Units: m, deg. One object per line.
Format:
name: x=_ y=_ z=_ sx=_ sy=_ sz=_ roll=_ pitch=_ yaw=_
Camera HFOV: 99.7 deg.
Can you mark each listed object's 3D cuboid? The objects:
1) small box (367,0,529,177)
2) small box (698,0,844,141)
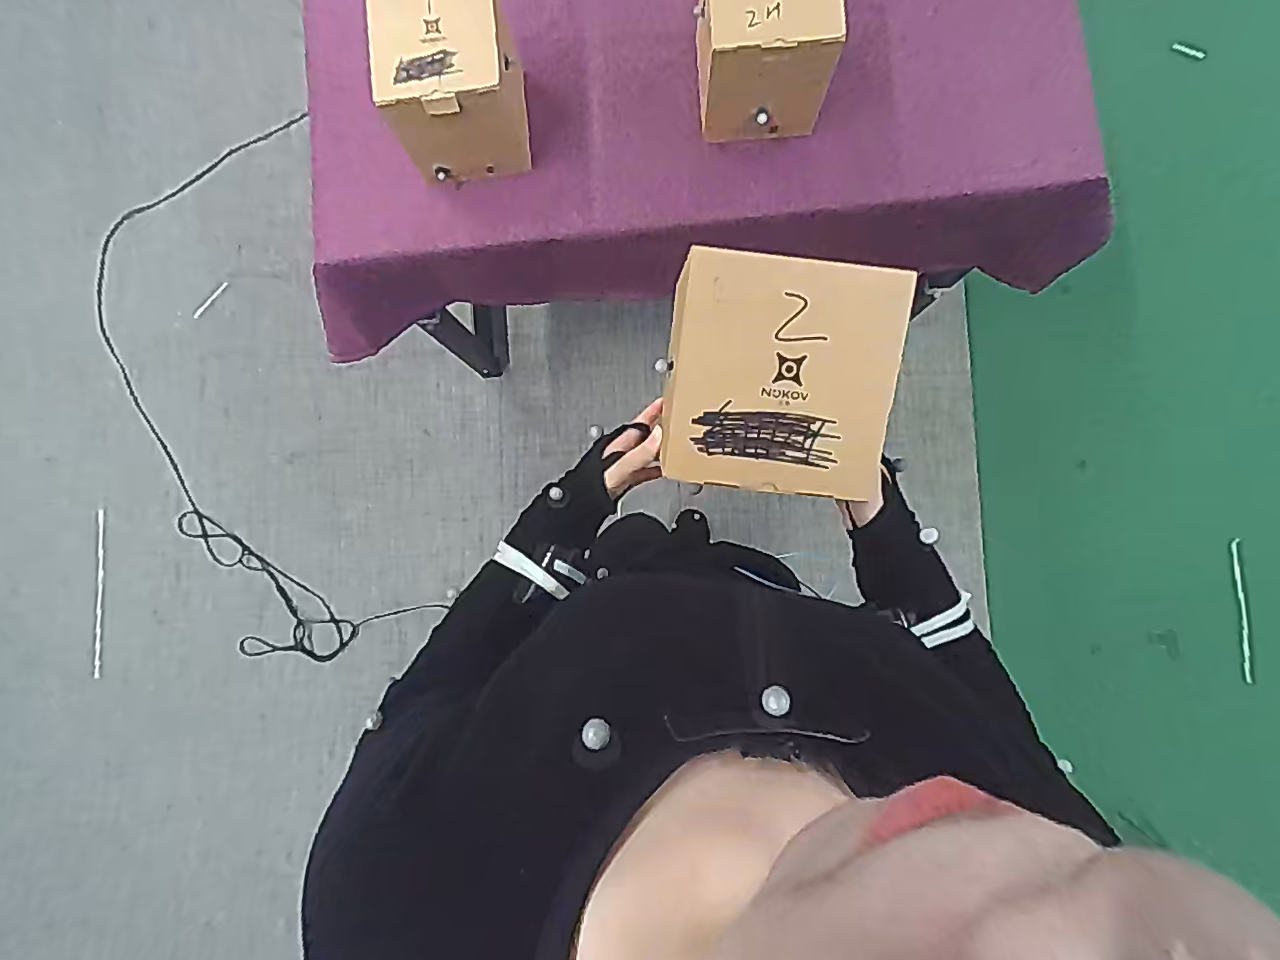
small box: x=-0.261 y=-0.559 z=0.767 sx=0.168 sy=0.176 sz=0.179 roll=-6 pitch=84 yaw=2
small box: x=0.169 y=-0.613 z=0.750 sx=0.168 sy=0.176 sz=0.179 roll=-3 pitch=85 yaw=3
